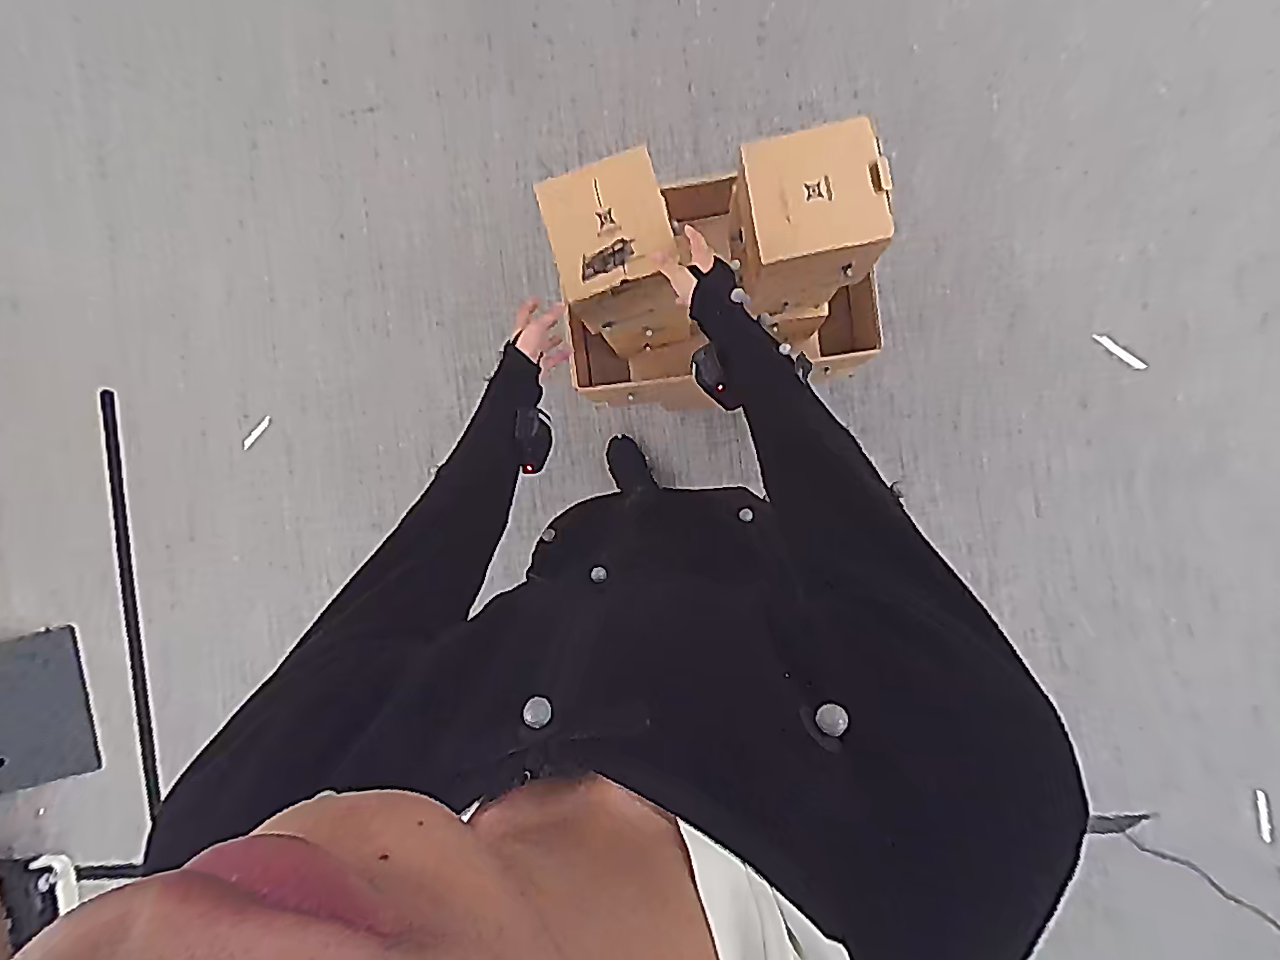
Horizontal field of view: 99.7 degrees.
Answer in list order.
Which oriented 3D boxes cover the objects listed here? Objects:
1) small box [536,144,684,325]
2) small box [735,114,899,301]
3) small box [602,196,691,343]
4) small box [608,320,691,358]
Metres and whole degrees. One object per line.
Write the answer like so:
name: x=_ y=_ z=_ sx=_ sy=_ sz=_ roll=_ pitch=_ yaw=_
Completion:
small box: x=-0.034 y=-0.348 z=0.811 sx=0.168 sy=0.176 sz=0.179 roll=-17 pitch=88 yaw=6
small box: x=0.242 y=-0.377 z=0.780 sx=0.179 sy=0.176 sz=0.168 roll=-10 pitch=88 yaw=6
small box: x=-0.007 y=-0.366 z=0.973 sx=0.168 sy=0.176 sz=0.179 roll=-14 pitch=89 yaw=6
small box: x=0.006 y=-0.377 z=1.136 sx=0.168 sy=0.176 sz=0.179 roll=-15 pitch=89 yaw=6
